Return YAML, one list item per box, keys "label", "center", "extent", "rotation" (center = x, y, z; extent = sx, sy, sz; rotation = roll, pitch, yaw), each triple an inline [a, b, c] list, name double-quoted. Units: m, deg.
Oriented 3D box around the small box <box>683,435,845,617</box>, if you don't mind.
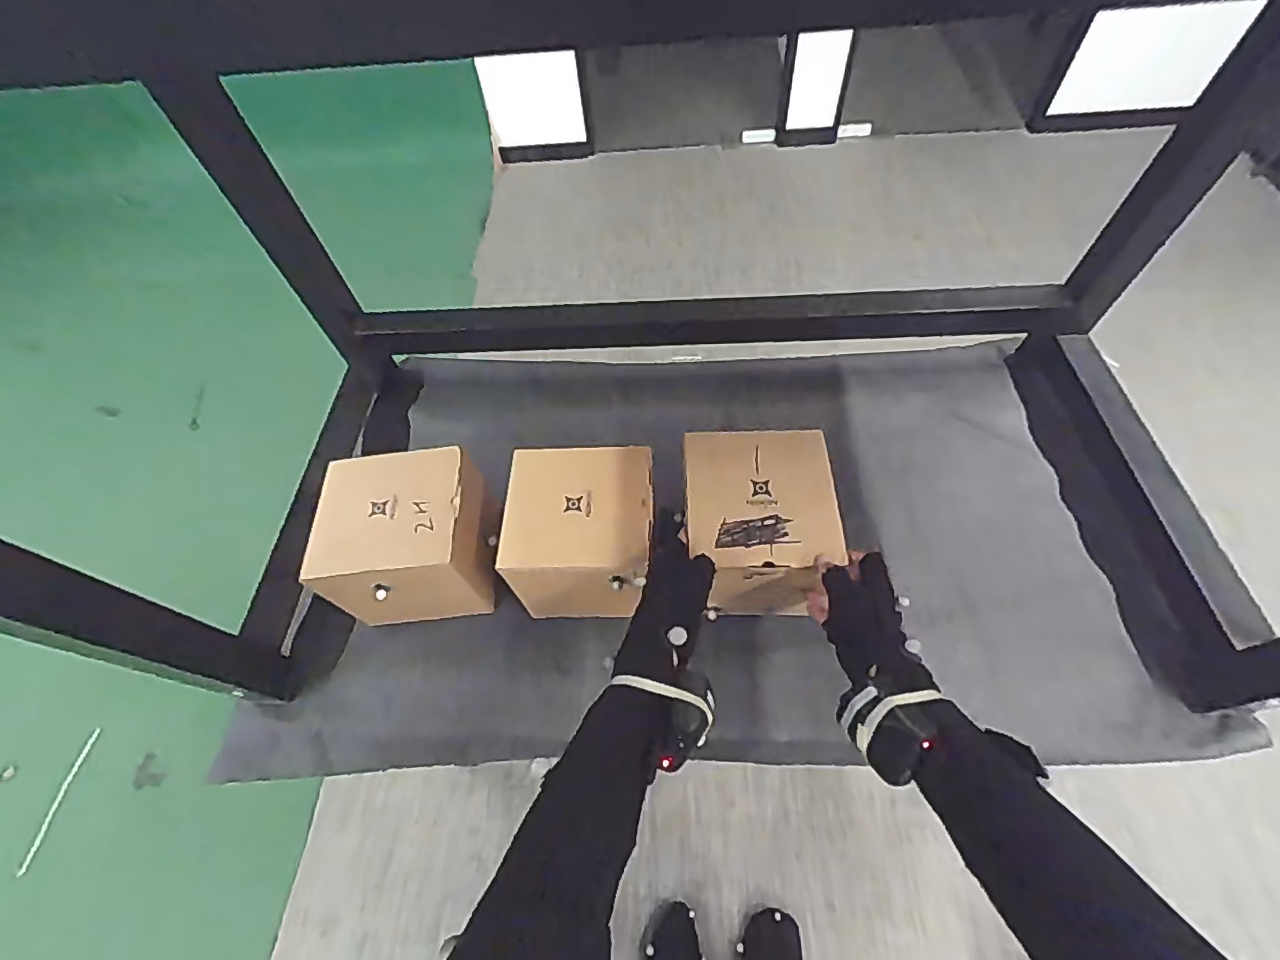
- label: "small box"
  center: [0.137, 0.063, 0.666]
  extent: [0.168, 0.176, 0.179]
  rotation: [0, 59, 4]
